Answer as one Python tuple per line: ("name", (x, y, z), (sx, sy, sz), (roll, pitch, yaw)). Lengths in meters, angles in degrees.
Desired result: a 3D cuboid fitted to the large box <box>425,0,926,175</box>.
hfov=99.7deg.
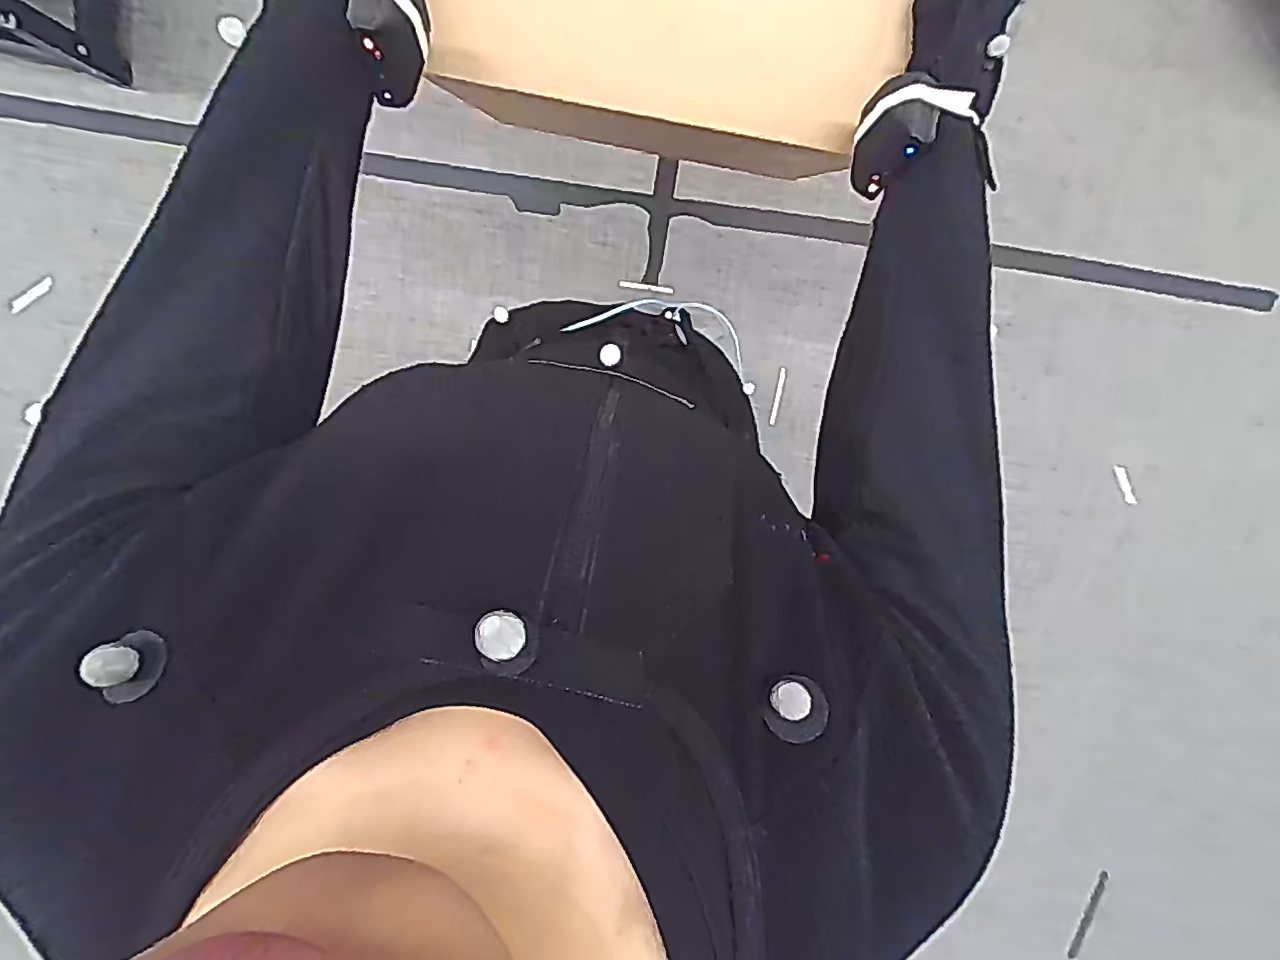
("large box", (0.036, -0.511, 0.530), (0.408, 0.320, 0.320), (8, 117, -5))
